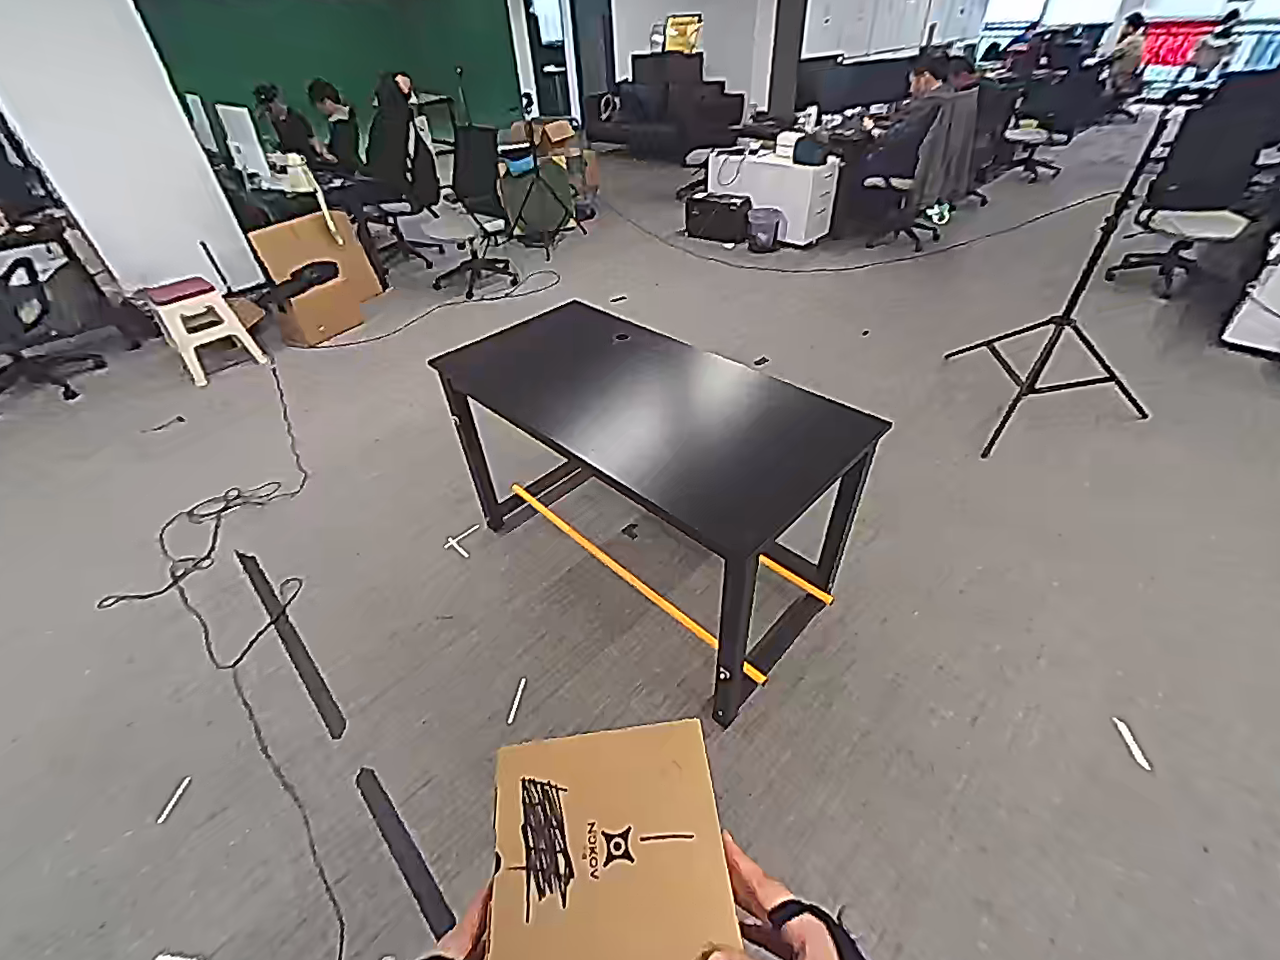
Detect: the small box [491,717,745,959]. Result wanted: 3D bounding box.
[{"bbox_3d":[-0.017,0.329,0.470,0.179,0.176,0.168,-7,48,-2],"label":"small box"}]
